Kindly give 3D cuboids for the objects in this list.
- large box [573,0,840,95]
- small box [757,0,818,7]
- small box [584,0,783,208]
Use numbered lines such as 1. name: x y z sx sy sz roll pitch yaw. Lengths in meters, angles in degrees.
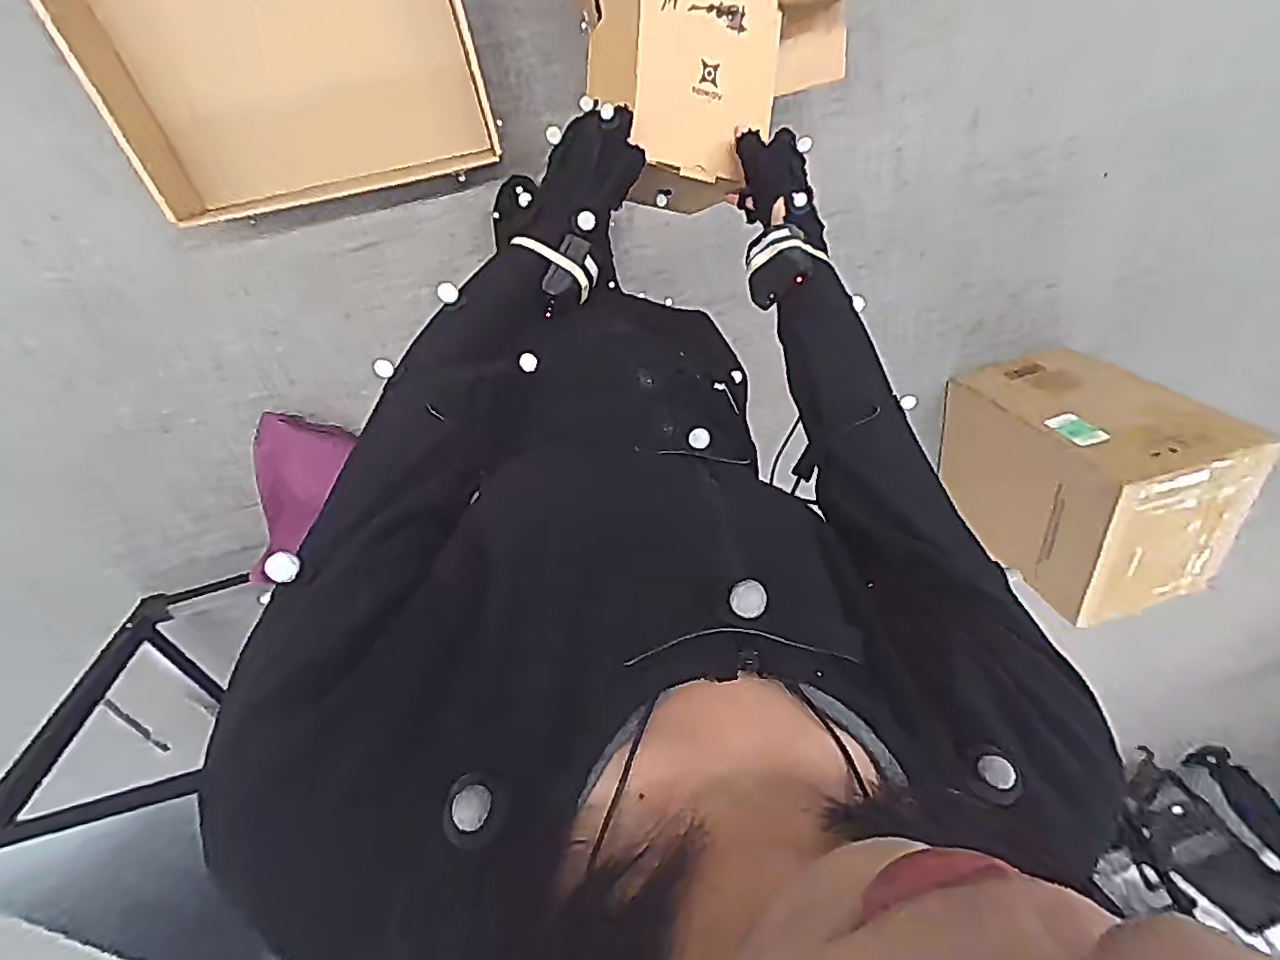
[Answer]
1. large box: 0.104 -0.867 0.994 0.408 0.320 0.320 -17 126 -3
2. small box: 0.260 -0.808 0.774 0.168 0.176 0.179 -13 123 -5
3. small box: 0.038 -0.438 0.637 0.168 0.176 0.179 0 105 -24
